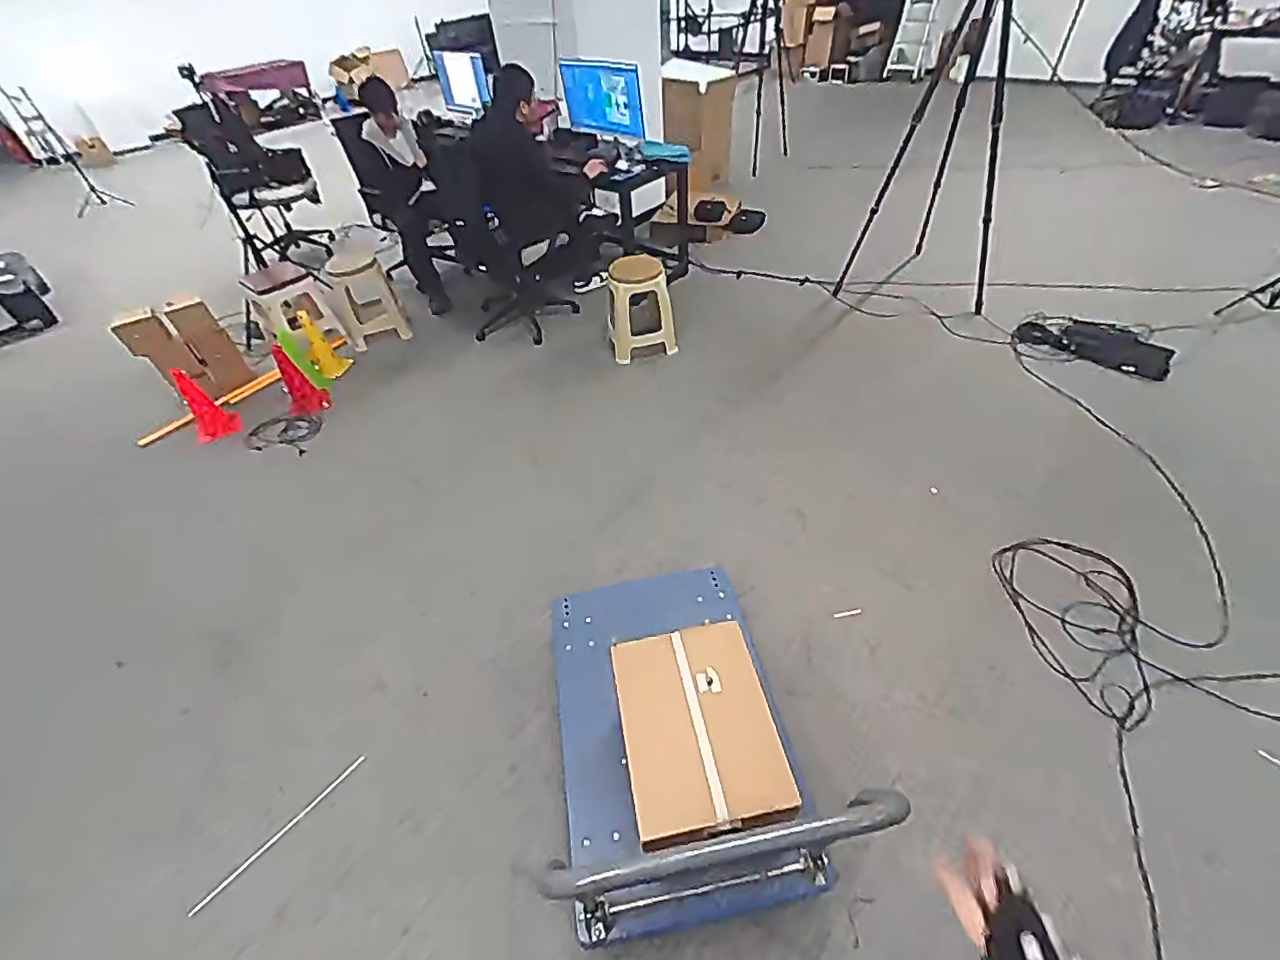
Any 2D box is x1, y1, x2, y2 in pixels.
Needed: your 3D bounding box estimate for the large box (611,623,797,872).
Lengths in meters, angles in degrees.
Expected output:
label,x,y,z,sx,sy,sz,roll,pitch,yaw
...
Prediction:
label,x,y,z,sx,sy,sz,roll,pitch,yaw
large box,0.129,0.614,1.263,0.320,0.320,0.408,-10,44,-5
